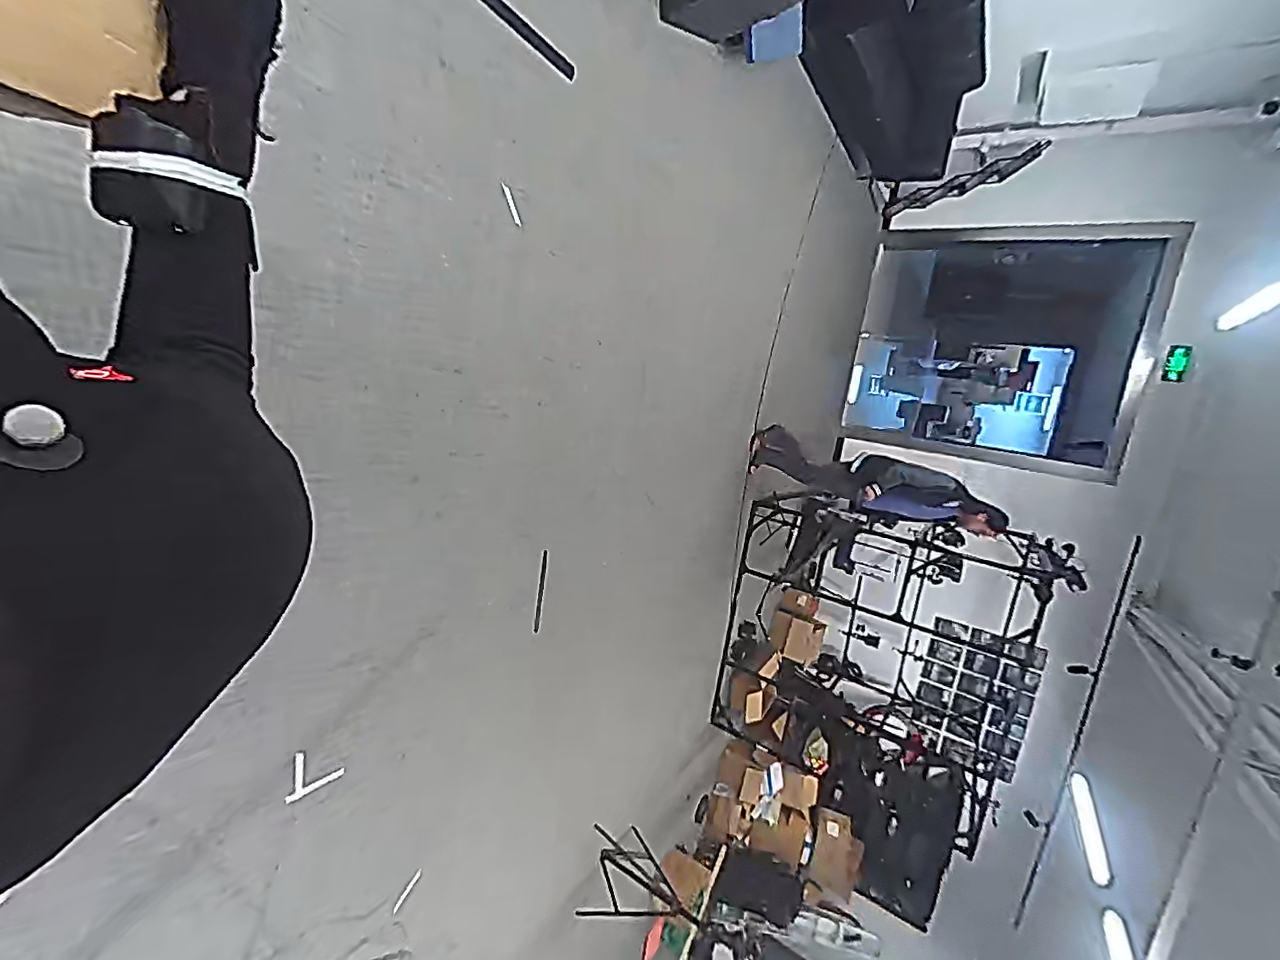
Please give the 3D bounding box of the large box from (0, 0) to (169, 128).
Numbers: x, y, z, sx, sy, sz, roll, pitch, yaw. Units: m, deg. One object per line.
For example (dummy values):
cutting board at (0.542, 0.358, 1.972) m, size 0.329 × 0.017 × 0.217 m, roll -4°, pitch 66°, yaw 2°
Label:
large box at (-0.522, -0.426, 0.243) m, size 0.408 × 0.320 × 0.320 m, roll -8°, pitch 119°, yaw -60°
